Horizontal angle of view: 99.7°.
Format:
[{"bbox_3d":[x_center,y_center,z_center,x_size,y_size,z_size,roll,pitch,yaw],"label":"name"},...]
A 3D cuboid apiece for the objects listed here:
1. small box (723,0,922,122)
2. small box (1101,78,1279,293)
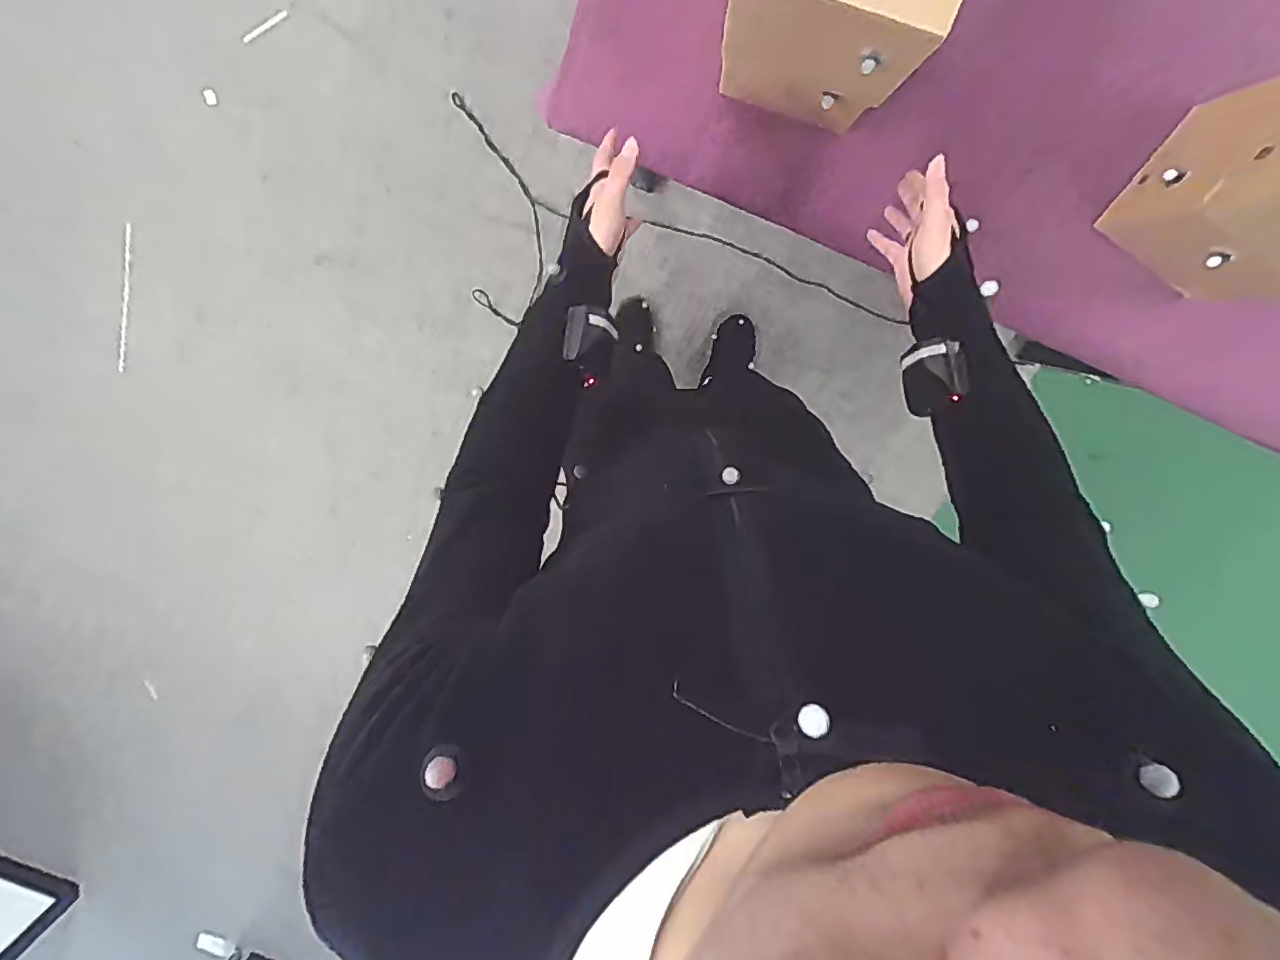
[{"bbox_3d":[0.205,-0.532,0.606,0.179,0.176,0.168,19,110,-1],"label":"small box"},{"bbox_3d":[0.712,-0.333,0.631,0.179,0.176,0.168,33,109,-7],"label":"small box"}]
